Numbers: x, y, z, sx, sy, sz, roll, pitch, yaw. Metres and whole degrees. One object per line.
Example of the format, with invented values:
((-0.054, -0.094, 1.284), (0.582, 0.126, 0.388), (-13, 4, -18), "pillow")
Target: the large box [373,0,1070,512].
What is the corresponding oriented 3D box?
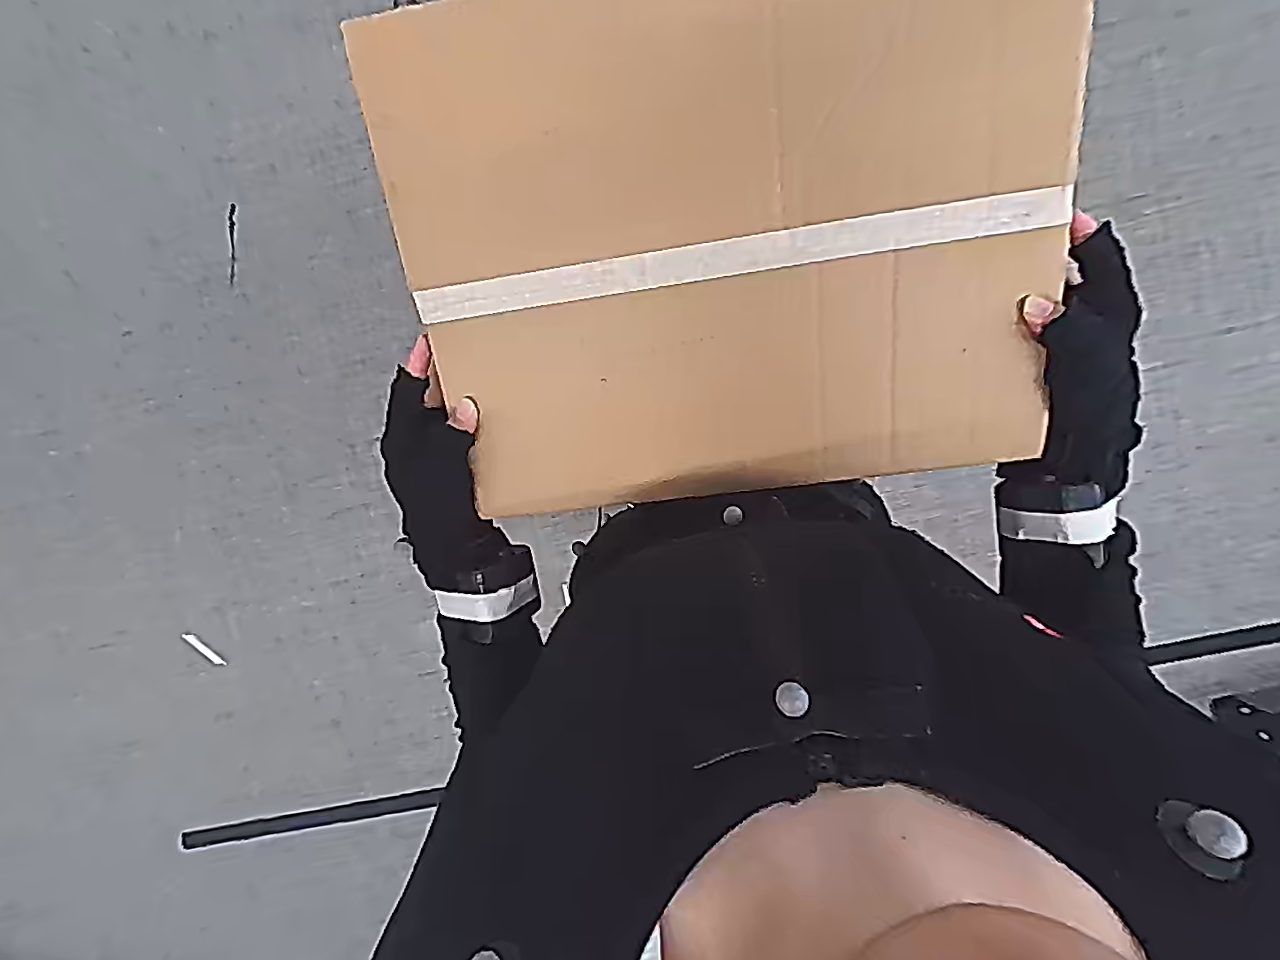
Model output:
((0.062, -0.192, 0.491), (0.408, 0.320, 0.320), (-7, 111, 6), "large box")
